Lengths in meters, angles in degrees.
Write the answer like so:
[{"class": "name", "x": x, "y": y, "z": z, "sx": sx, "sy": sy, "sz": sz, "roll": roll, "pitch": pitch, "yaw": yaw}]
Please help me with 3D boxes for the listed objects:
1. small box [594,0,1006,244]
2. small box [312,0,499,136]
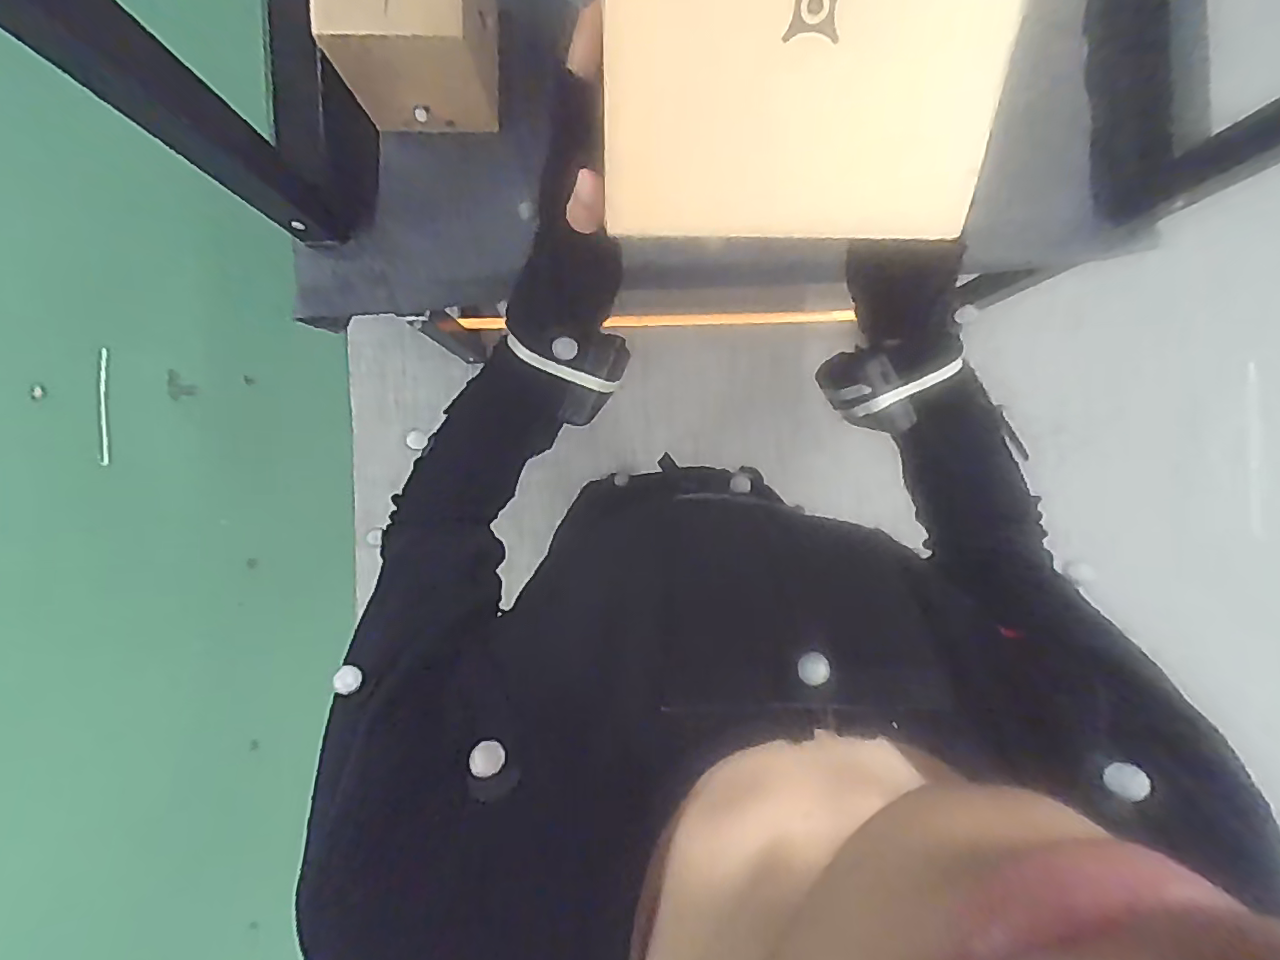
[{"class": "small box", "x": 0.061, "y": -0.227, "z": 0.284, "sx": 0.168, "sy": 0.176, "sz": 0.179, "roll": -1, "pitch": 118, "yaw": -2}, {"class": "small box", "x": -0.275, "y": -0.564, "z": 0.666, "sx": 0.168, "sy": 0.176, "sz": 0.179, "roll": -1, "pitch": 91, "yaw": -2}]
